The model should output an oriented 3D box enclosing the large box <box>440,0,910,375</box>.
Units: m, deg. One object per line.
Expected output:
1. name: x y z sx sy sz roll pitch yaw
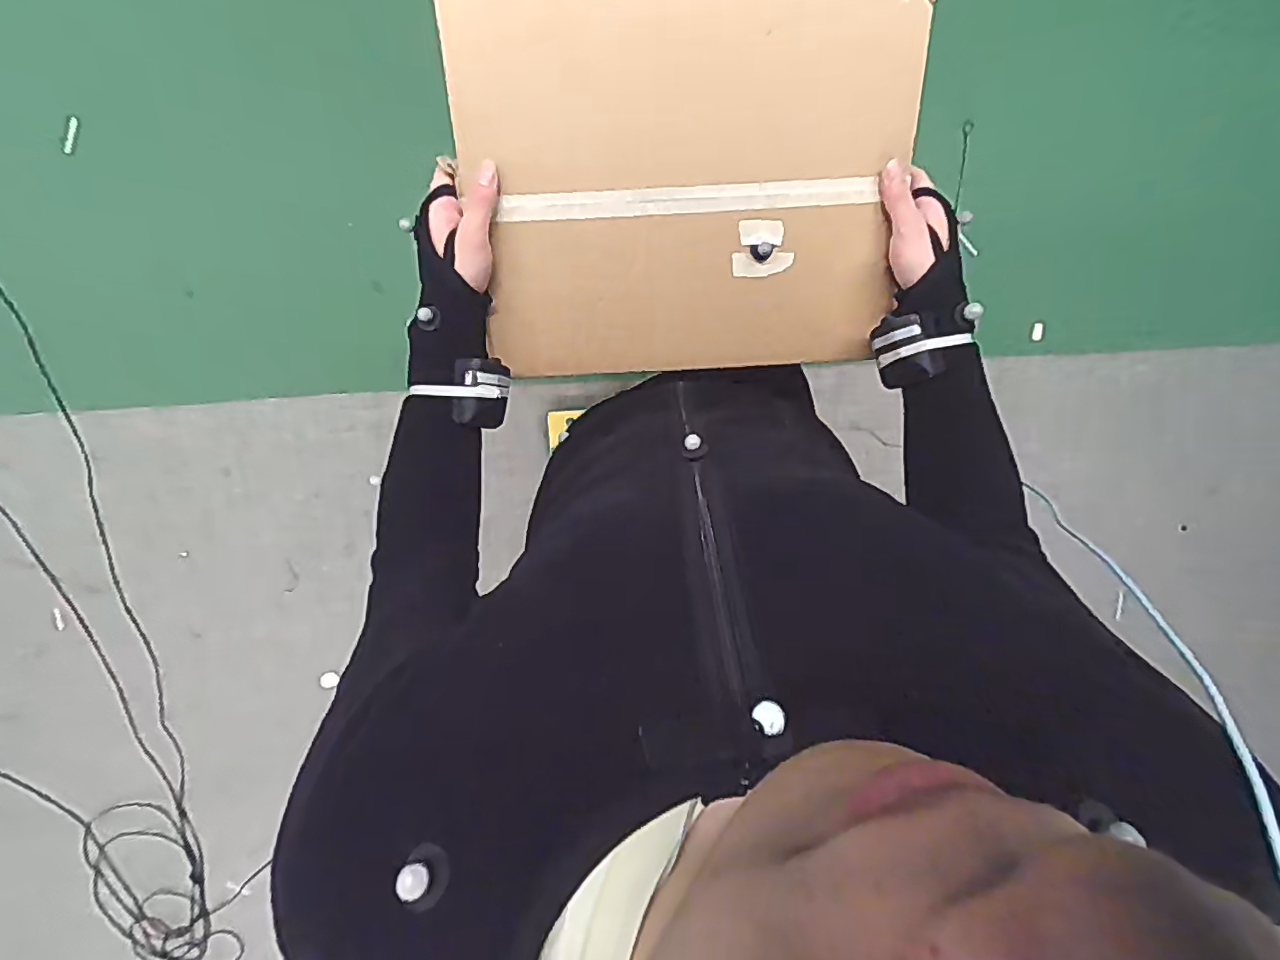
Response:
1. large box: 0.031 -0.322 0.642 0.408 0.320 0.320 -5 114 -2
